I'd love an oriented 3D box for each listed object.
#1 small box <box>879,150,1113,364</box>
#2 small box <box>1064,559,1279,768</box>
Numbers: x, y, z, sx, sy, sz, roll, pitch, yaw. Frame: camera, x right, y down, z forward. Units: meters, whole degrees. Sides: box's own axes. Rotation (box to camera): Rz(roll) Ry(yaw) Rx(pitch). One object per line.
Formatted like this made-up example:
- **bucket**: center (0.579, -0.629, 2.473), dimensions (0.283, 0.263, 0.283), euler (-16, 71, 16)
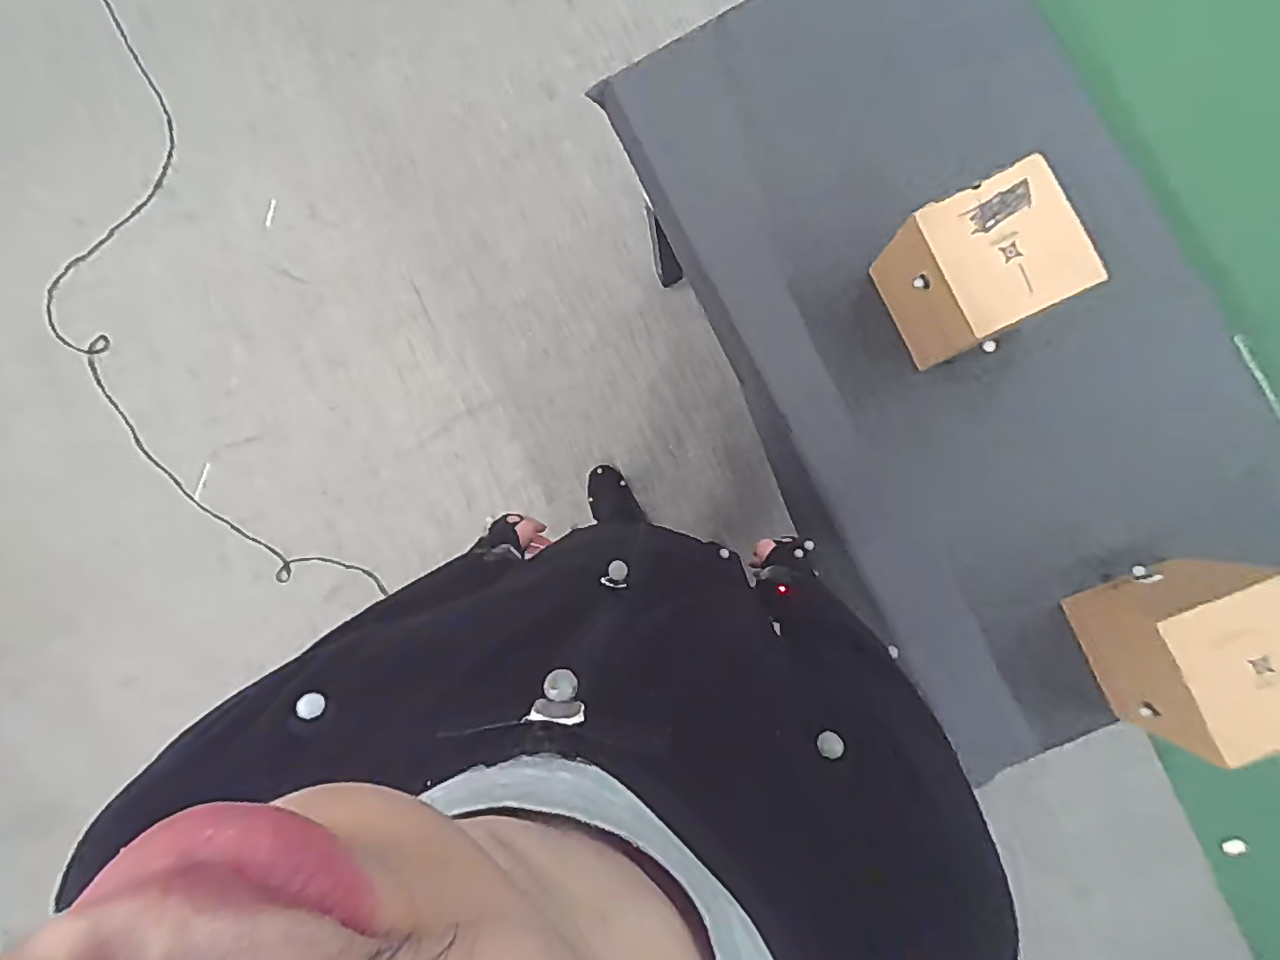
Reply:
- **small box**: center (0.448, -0.278, 0.717), dimensions (0.168, 0.176, 0.179), euler (-25, 87, 5)
- **small box**: center (0.695, 0.213, 0.676), dimensions (0.168, 0.176, 0.179), euler (-23, 85, 4)
